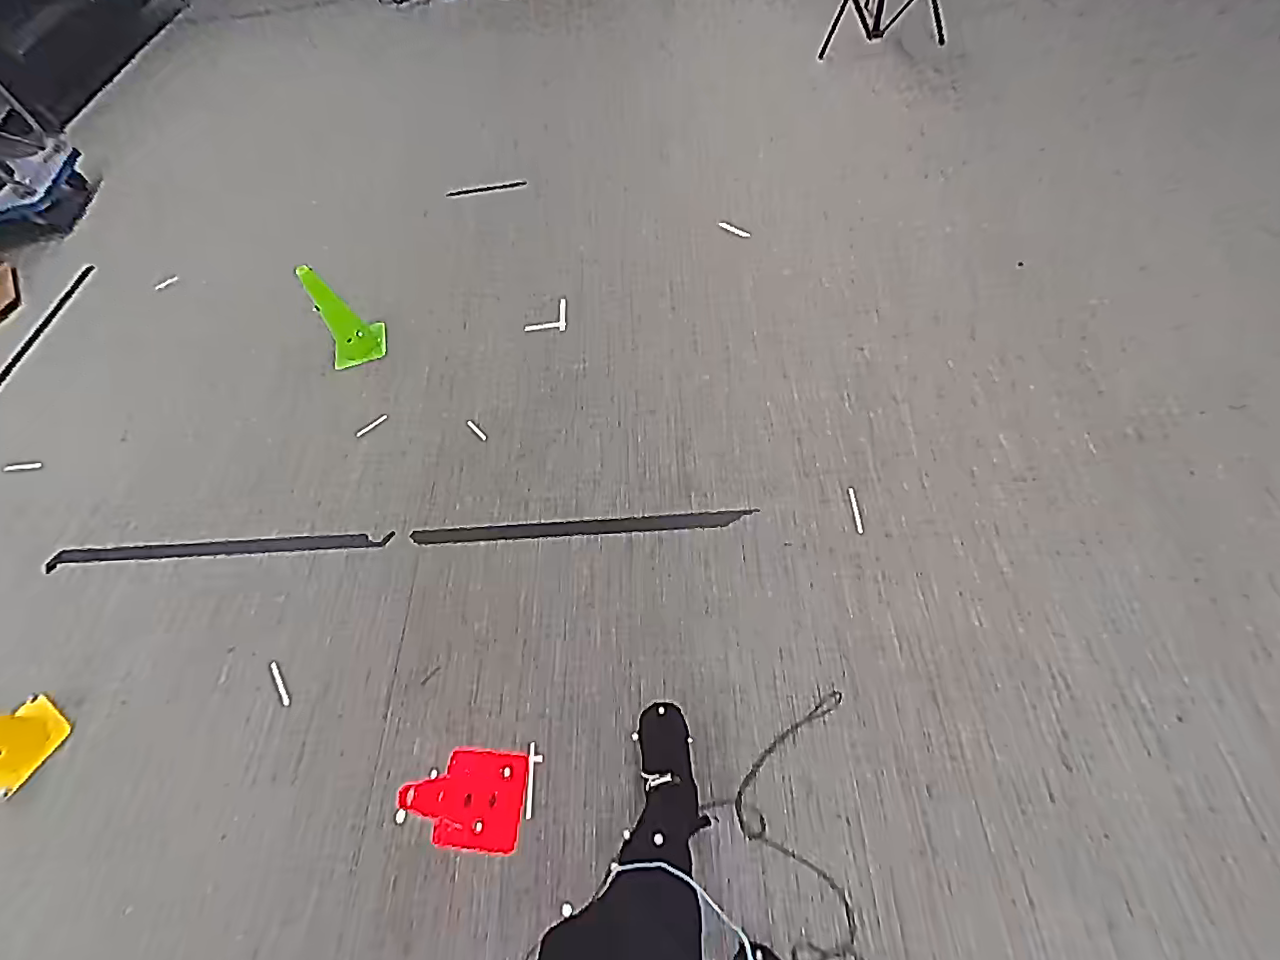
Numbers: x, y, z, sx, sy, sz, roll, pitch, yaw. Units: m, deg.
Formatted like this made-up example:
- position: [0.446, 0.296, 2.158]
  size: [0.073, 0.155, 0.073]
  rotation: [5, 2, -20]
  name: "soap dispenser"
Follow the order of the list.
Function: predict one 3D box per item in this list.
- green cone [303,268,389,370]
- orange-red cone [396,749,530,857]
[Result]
- position: [-1.104, -0.607, 1.972]
  size: [0.202, 0.368, 0.200]
  rotation: [-17, 58, -3]
  name: "green cone"
- position: [-0.386, 0.642, 1.091]
  size: [0.199, 0.360, 0.198]
  rotation: [1, 58, 11]
  name: "orange-red cone"
